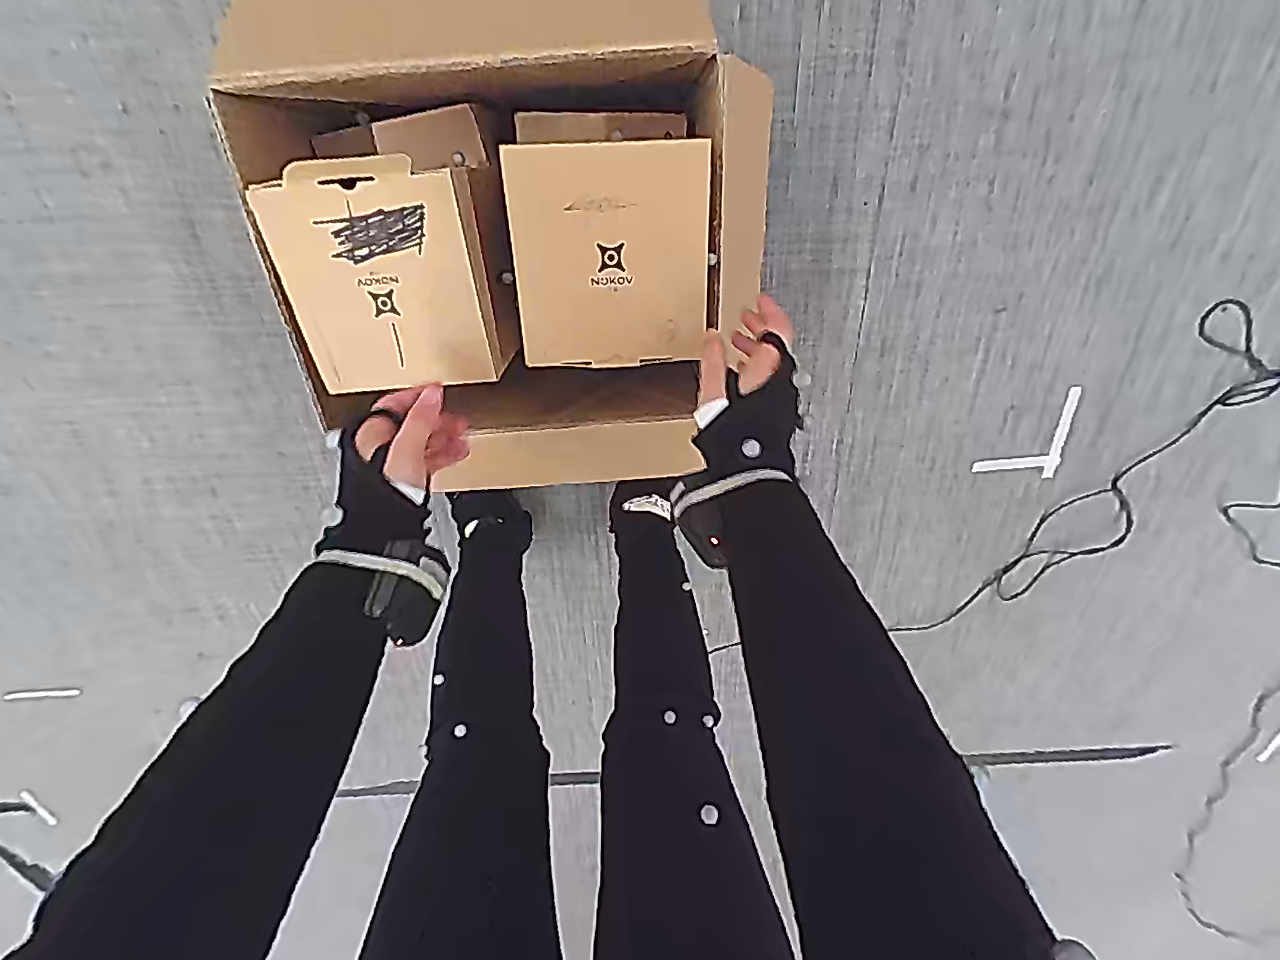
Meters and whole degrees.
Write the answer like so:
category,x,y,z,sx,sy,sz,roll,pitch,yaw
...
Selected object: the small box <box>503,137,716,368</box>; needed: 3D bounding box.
category,x,y,z,sx,sy,sz,roll,pitch,yaw
small box,-0.025,-0.219,0.520,0.168,0.176,0.179,-4,118,-3
